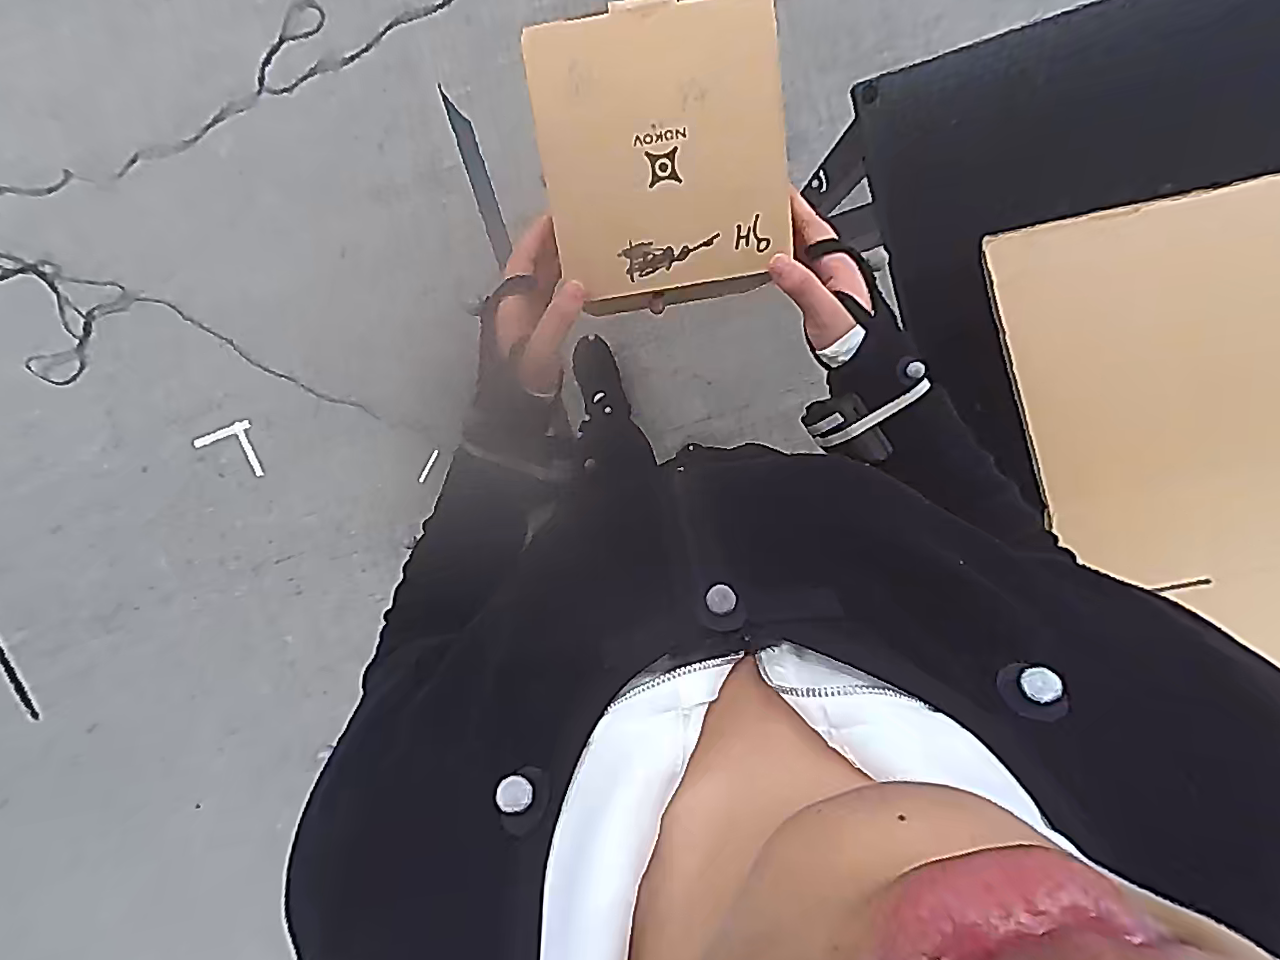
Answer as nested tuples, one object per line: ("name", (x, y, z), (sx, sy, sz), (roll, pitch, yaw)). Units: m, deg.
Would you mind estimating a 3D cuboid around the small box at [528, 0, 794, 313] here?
("small box", (0.018, -0.246, 0.447), (0.168, 0.176, 0.179), (-8, 103, 4))
